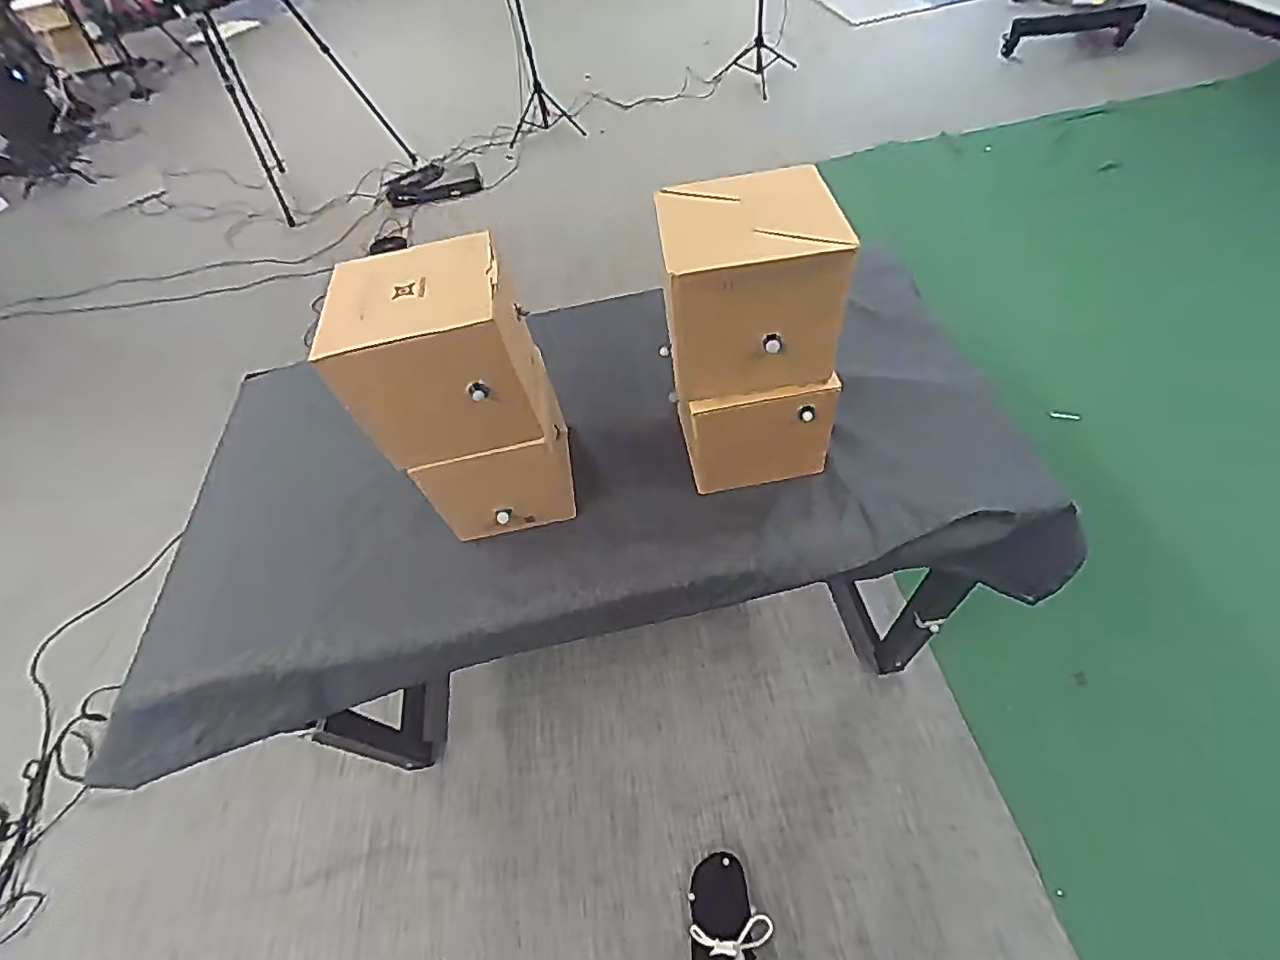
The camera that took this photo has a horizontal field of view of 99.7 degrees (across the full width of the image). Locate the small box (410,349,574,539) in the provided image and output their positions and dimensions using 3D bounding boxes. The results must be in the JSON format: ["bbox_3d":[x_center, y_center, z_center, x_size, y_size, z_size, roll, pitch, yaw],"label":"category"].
[{"bbox_3d":[-0.192,-0.046,0.738,0.168,0.176,0.179,-12,54,0],"label":"small box"}]

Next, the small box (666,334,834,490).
[{"bbox_3d":[0.140,-0.105,0.731,0.179,0.176,0.168,-10,53,1],"label":"small box"}]

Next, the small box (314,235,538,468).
[{"bbox_3d":[-0.218,-0.138,0.607,0.179,0.176,0.168,-14,52,0],"label":"small box"}]

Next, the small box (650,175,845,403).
[{"bbox_3d":[0.113,-0.214,0.606,0.179,0.176,0.168,-7,53,3],"label":"small box"}]
